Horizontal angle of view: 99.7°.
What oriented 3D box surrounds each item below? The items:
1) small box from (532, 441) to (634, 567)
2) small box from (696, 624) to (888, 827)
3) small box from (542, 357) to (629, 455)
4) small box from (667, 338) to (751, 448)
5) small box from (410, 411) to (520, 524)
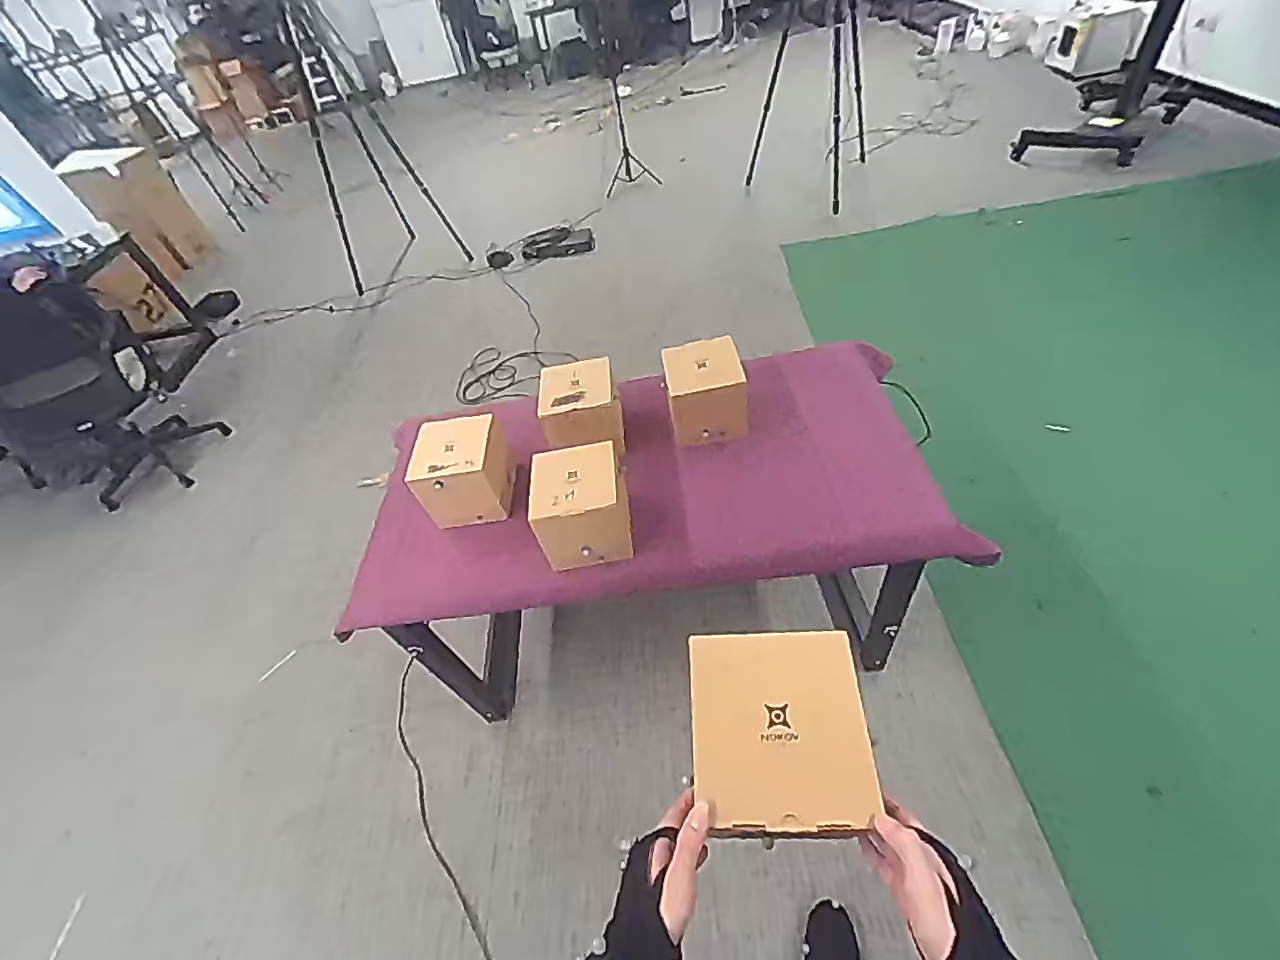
[{"bbox_3d":[-0.107,0.049,1.079,0.168,0.176,0.179,-9,47,4],"label":"small box"},{"bbox_3d":[0.145,0.271,0.589,0.168,0.176,0.179,-3,56,6],"label":"small box"},{"bbox_3d":[-0.123,-0.160,1.272,0.168,0.176,0.179,-9,47,4],"label":"small box"},{"bbox_3d":[0.159,-0.199,1.248,0.168,0.176,0.179,-10,48,5],"label":"small box"},{"bbox_3d":[-0.377,-0.026,1.203,0.168,0.176,0.179,-9,47,6],"label":"small box"}]
